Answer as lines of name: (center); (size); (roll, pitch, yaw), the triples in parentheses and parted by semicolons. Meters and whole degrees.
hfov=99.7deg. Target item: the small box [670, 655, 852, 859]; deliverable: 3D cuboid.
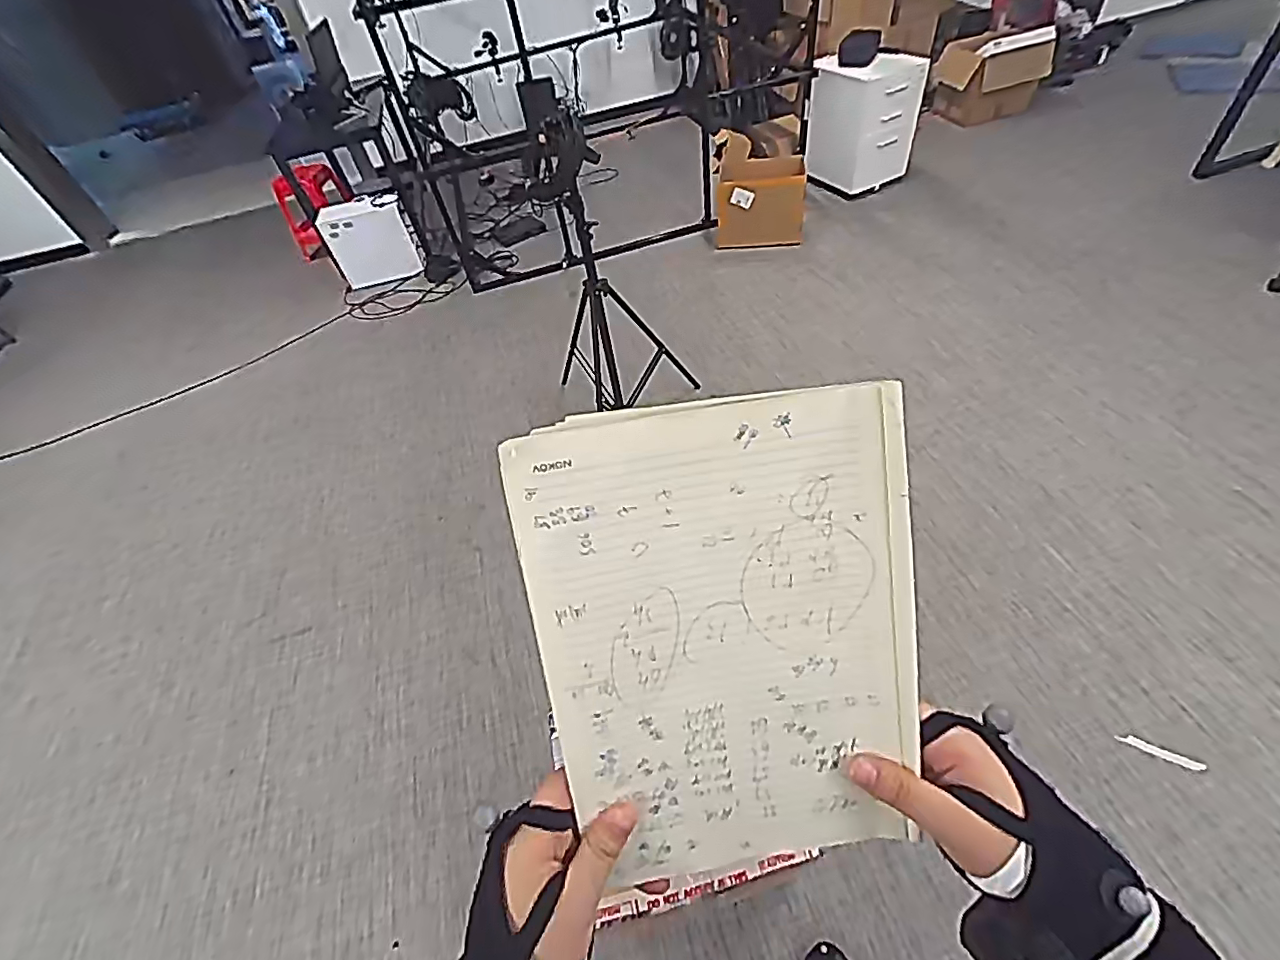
small box: (0.140, 0.357, 0.695); (0.168, 0.176, 0.179); (-15, 51, -6)

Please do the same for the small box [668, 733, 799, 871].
small box: (0.151, 0.464, 0.820); (0.179, 0.176, 0.168); (-18, 50, -7)
